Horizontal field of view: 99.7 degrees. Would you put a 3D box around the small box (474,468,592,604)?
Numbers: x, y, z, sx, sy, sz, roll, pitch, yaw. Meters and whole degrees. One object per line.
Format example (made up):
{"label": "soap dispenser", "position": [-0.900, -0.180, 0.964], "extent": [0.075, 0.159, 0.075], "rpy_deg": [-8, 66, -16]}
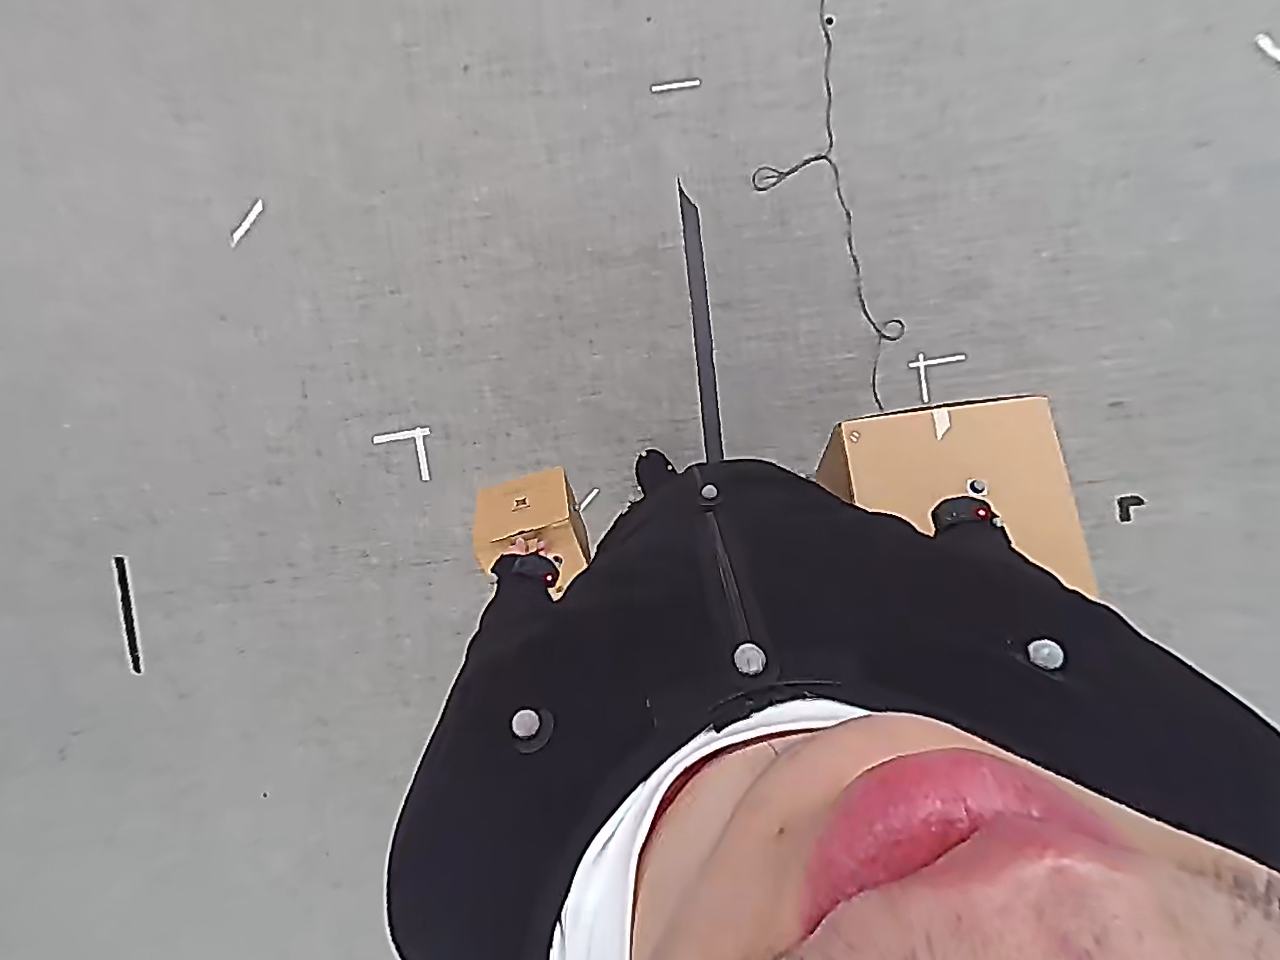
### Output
{"label": "small box", "position": [-0.193, 0.109, 1.003], "extent": [0.168, 0.179, 0.176], "rpy_deg": [-16, 122, -3]}
